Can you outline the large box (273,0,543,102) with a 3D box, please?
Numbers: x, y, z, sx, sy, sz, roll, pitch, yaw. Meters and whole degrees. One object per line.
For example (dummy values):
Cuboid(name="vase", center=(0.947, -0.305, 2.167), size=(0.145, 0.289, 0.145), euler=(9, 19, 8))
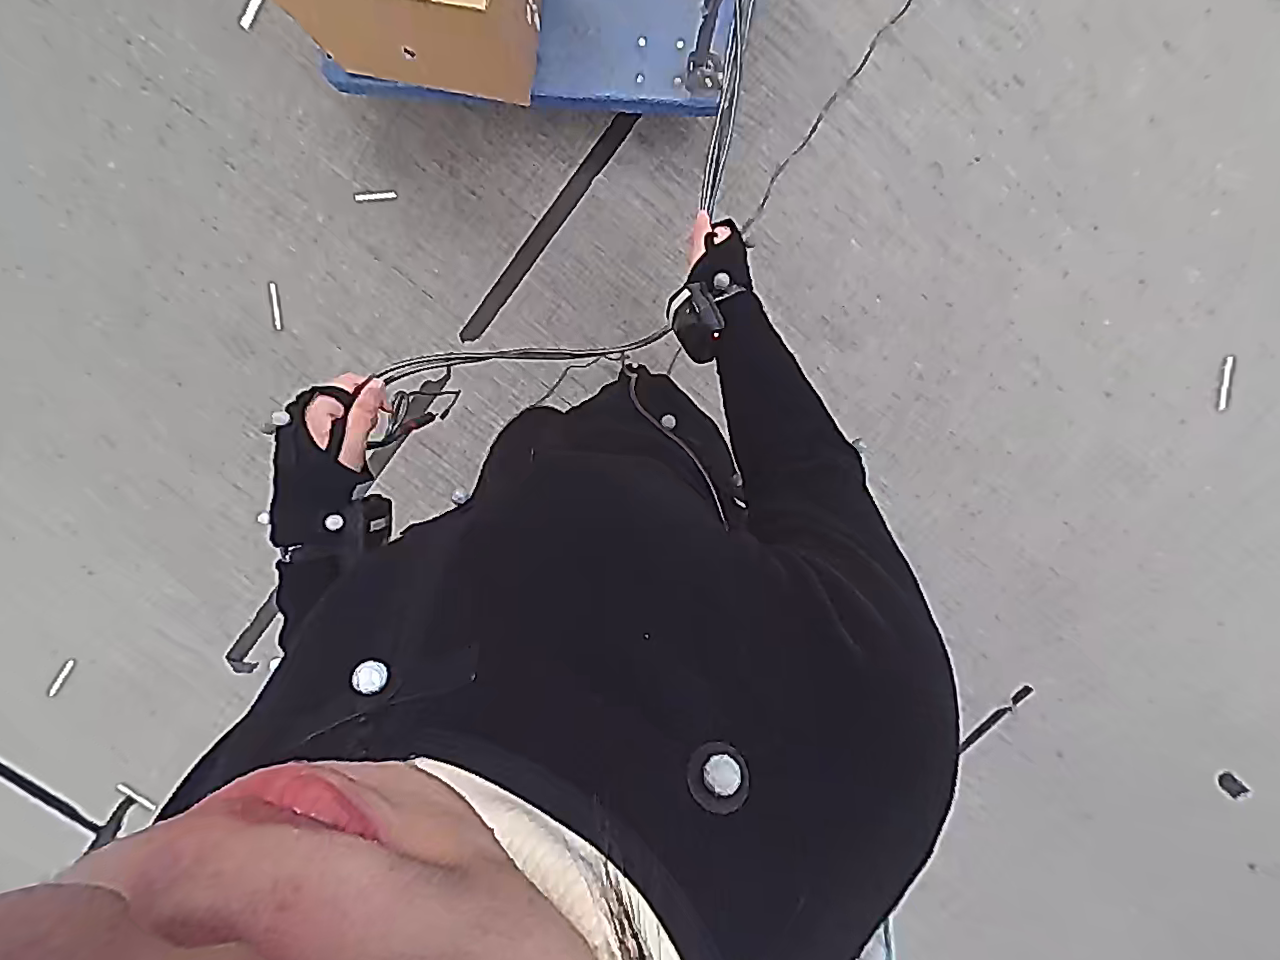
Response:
Cuboid(name="large box", center=(-0.403, -0.948, 0.977), size=(0.408, 0.320, 0.320), euler=(10, 100, 1))
